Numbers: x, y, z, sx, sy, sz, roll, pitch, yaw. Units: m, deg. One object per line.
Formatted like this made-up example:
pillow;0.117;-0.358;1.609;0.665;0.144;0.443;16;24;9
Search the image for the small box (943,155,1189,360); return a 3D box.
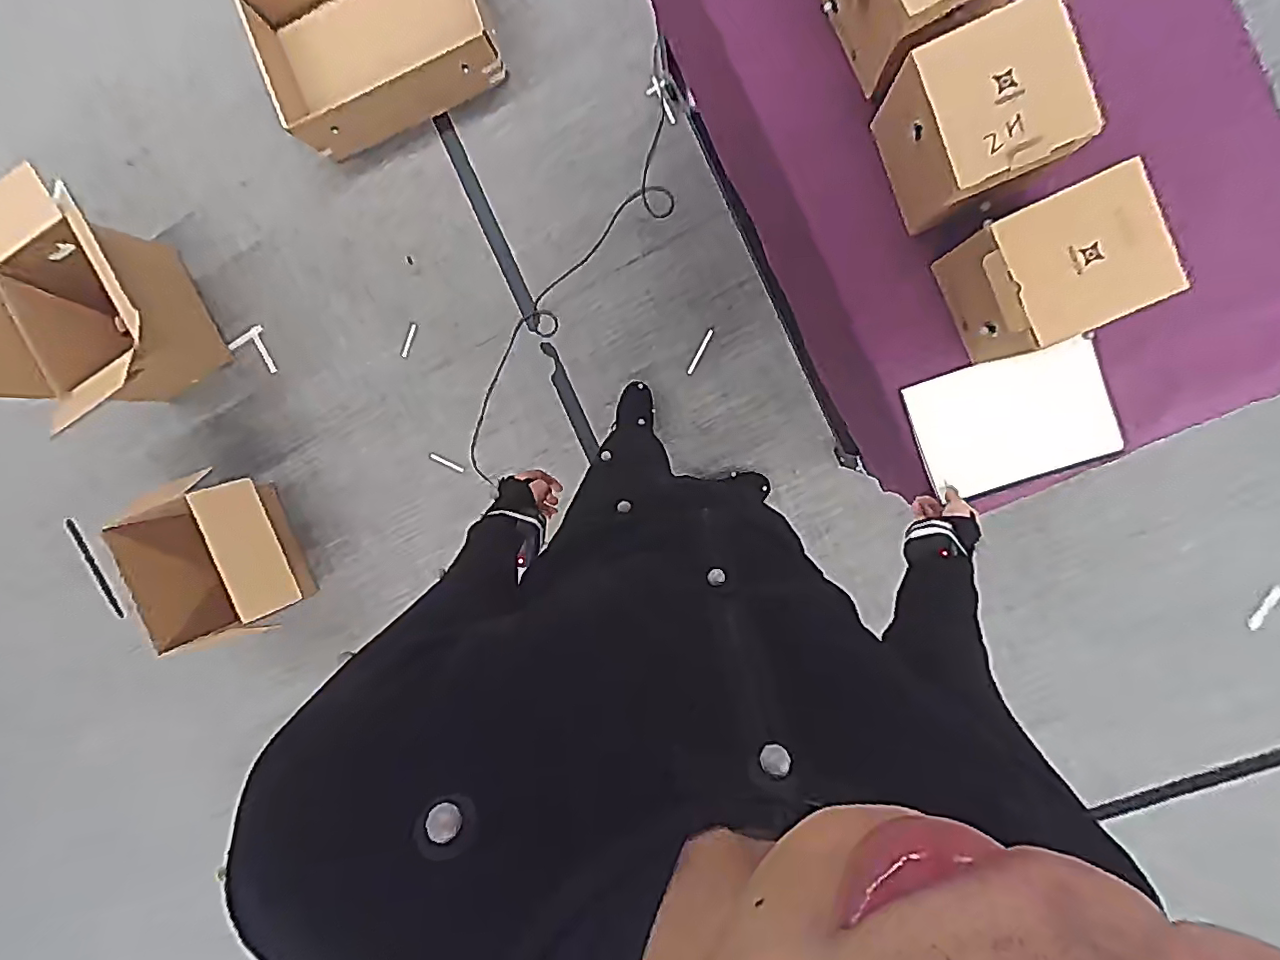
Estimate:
small box;0.529;-0.270;0.707;0.179;0.176;0.168;-24;94;9
